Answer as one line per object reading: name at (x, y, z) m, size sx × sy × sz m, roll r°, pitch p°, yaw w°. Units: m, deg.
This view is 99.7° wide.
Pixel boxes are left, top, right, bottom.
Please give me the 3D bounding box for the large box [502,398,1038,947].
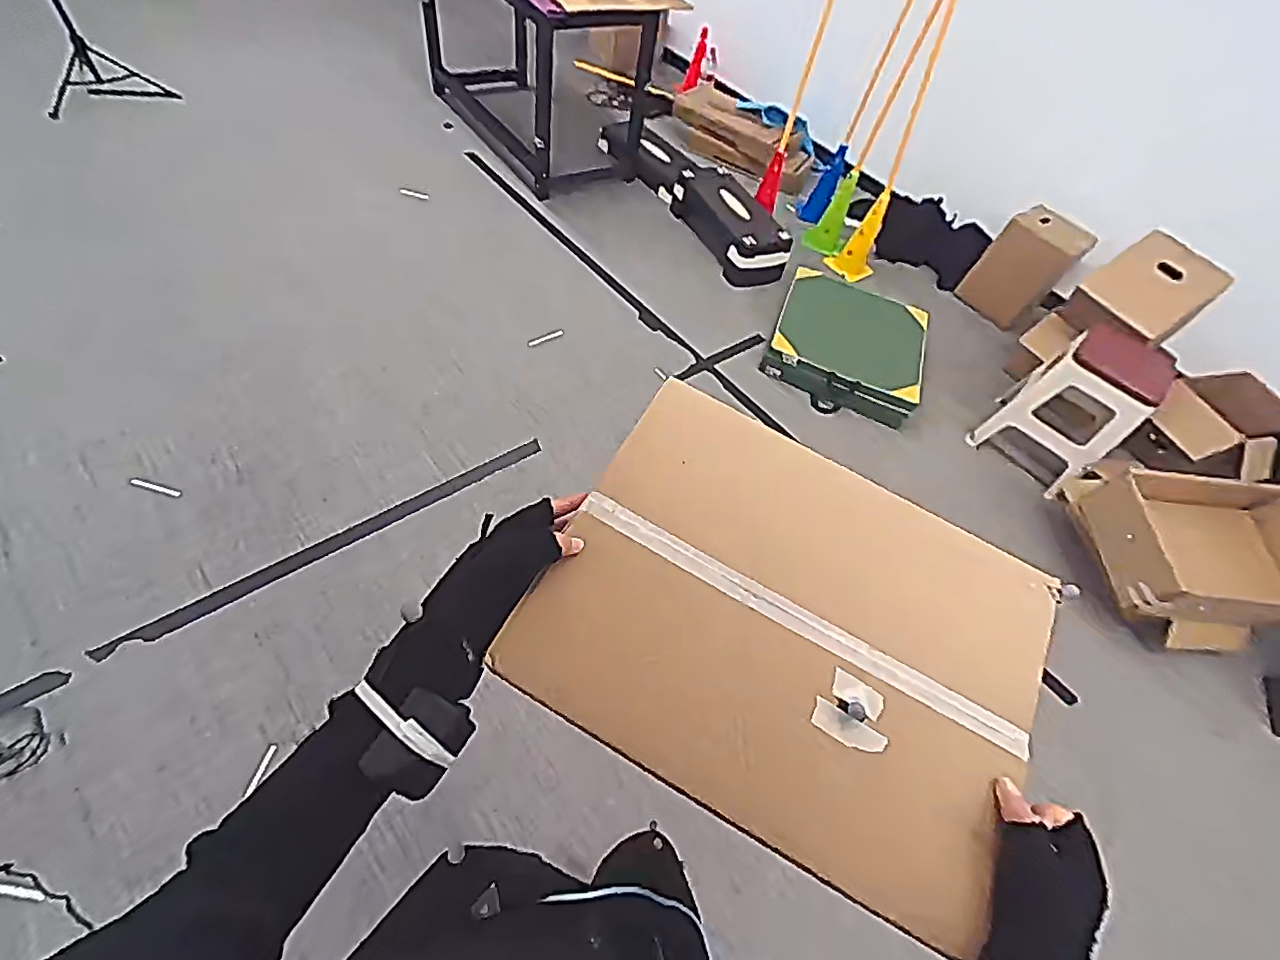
large box at (0.113, 0.184, 0.601) m, size 0.408 × 0.320 × 0.320 m, roll 30°, pitch 67°, yaw 6°
